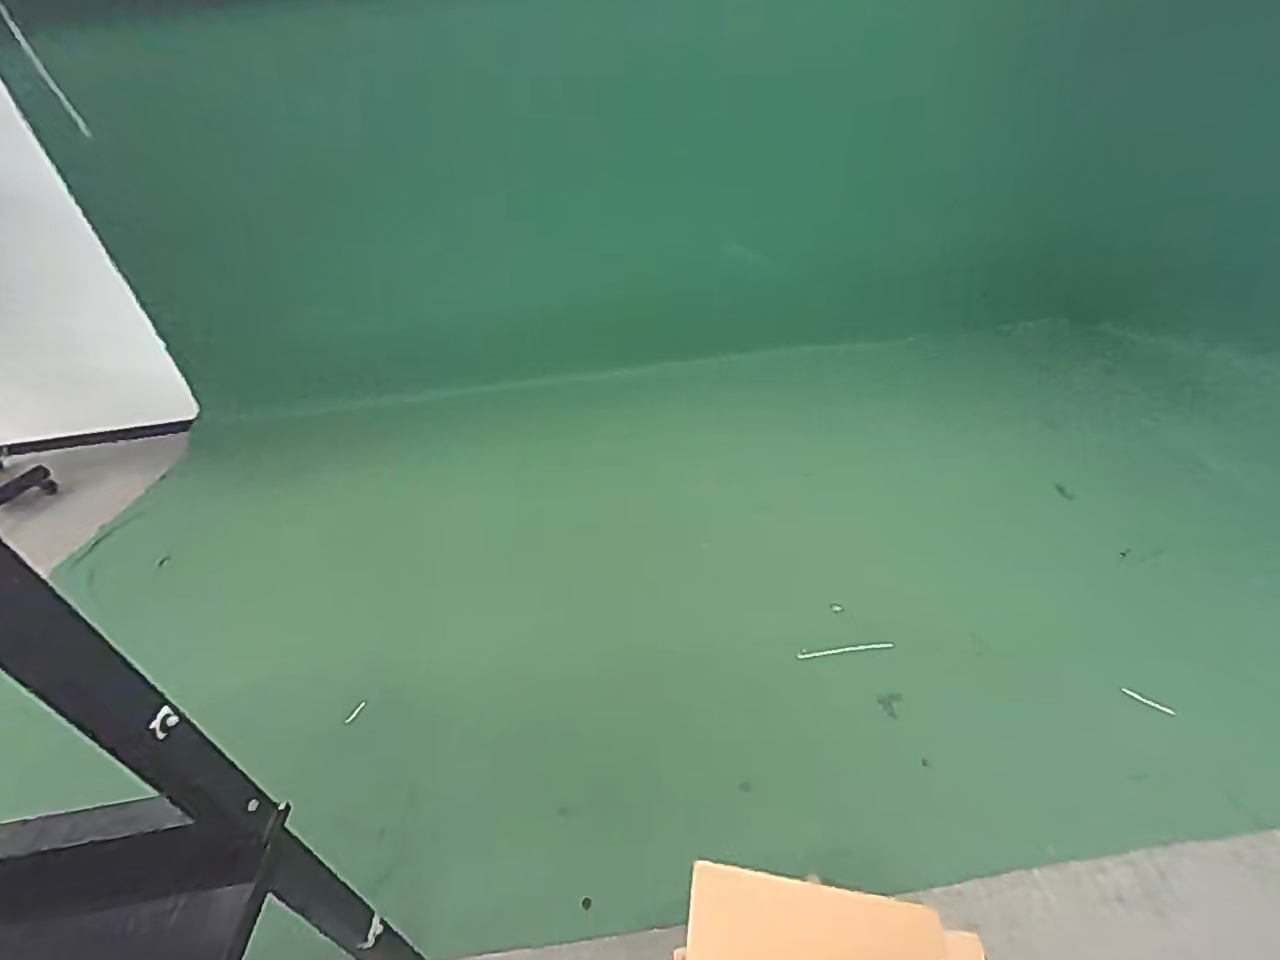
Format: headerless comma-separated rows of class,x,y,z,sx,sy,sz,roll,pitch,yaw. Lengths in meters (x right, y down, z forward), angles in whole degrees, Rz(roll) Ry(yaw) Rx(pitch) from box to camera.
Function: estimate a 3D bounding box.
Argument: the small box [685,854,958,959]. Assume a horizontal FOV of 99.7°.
small box,0.116,0.397,0.374,0.179,0.176,0.168,5,39,9
